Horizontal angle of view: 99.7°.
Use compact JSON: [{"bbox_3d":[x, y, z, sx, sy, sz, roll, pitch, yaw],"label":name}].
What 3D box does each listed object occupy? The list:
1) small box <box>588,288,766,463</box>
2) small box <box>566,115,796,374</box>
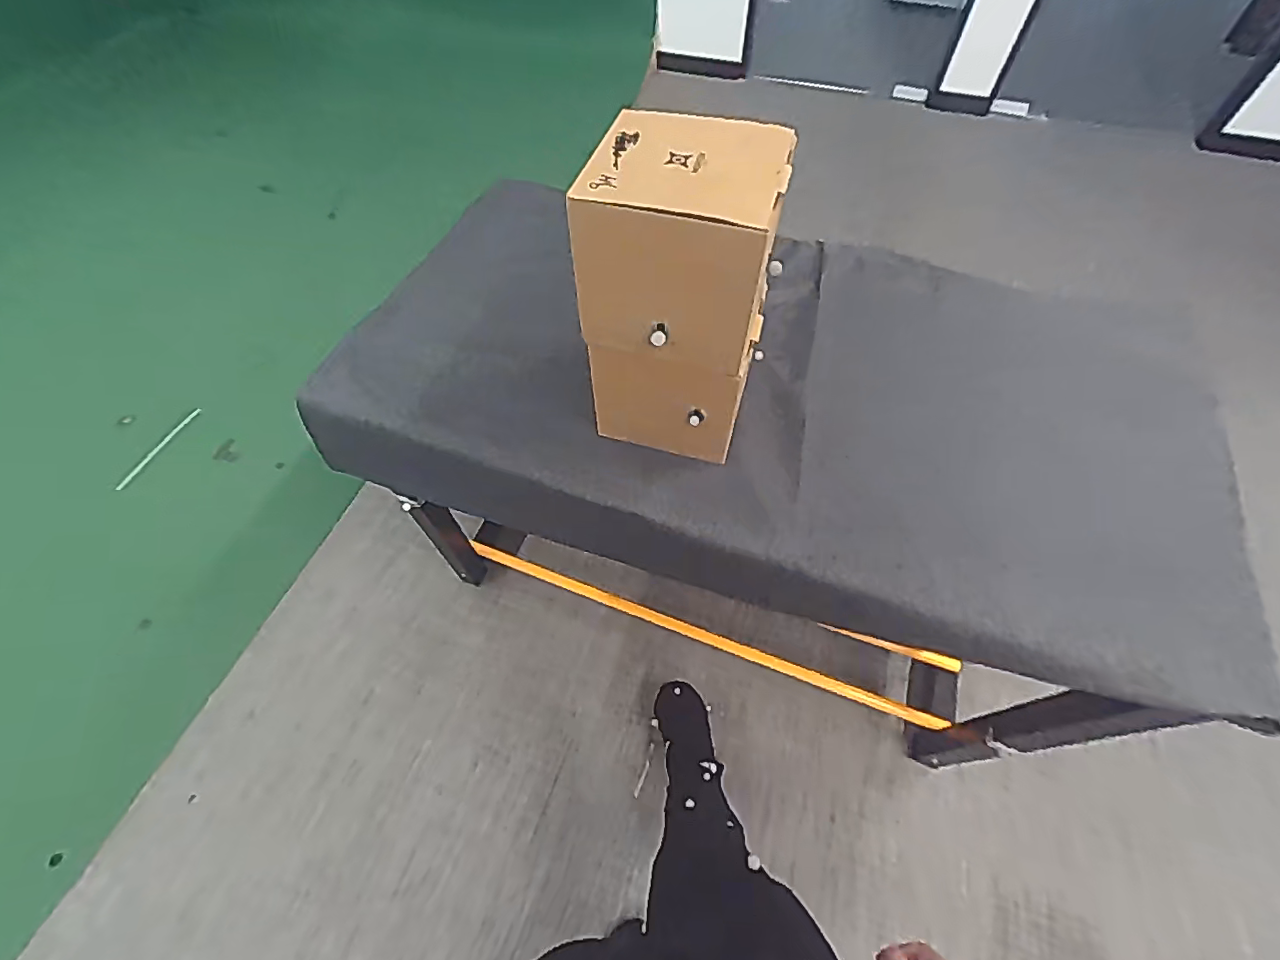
[{"bbox_3d":[0.048,-0.143,0.691,0.179,0.176,0.168,13,58,10],"label":"small box"},{"bbox_3d":[0.042,-0.233,0.553,0.179,0.176,0.168,14,58,9],"label":"small box"}]
